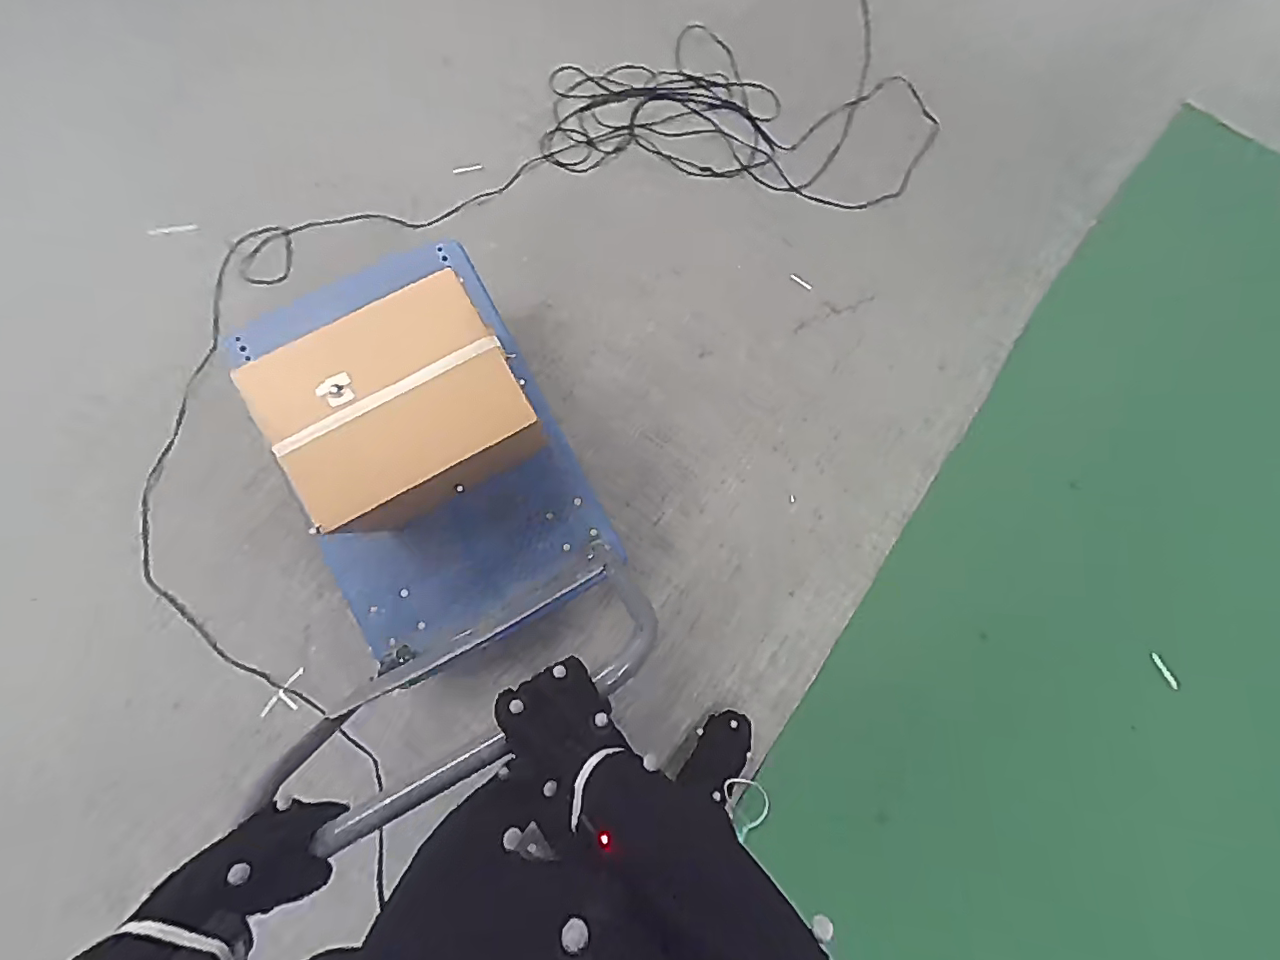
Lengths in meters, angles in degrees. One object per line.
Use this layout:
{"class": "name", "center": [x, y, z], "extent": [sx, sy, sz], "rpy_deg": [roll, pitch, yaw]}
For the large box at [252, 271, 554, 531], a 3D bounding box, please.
{"class": "large box", "center": [-0.428, -0.135, 1.084], "extent": [0.408, 0.320, 0.320], "rpy_deg": [-30, 88, -5]}
